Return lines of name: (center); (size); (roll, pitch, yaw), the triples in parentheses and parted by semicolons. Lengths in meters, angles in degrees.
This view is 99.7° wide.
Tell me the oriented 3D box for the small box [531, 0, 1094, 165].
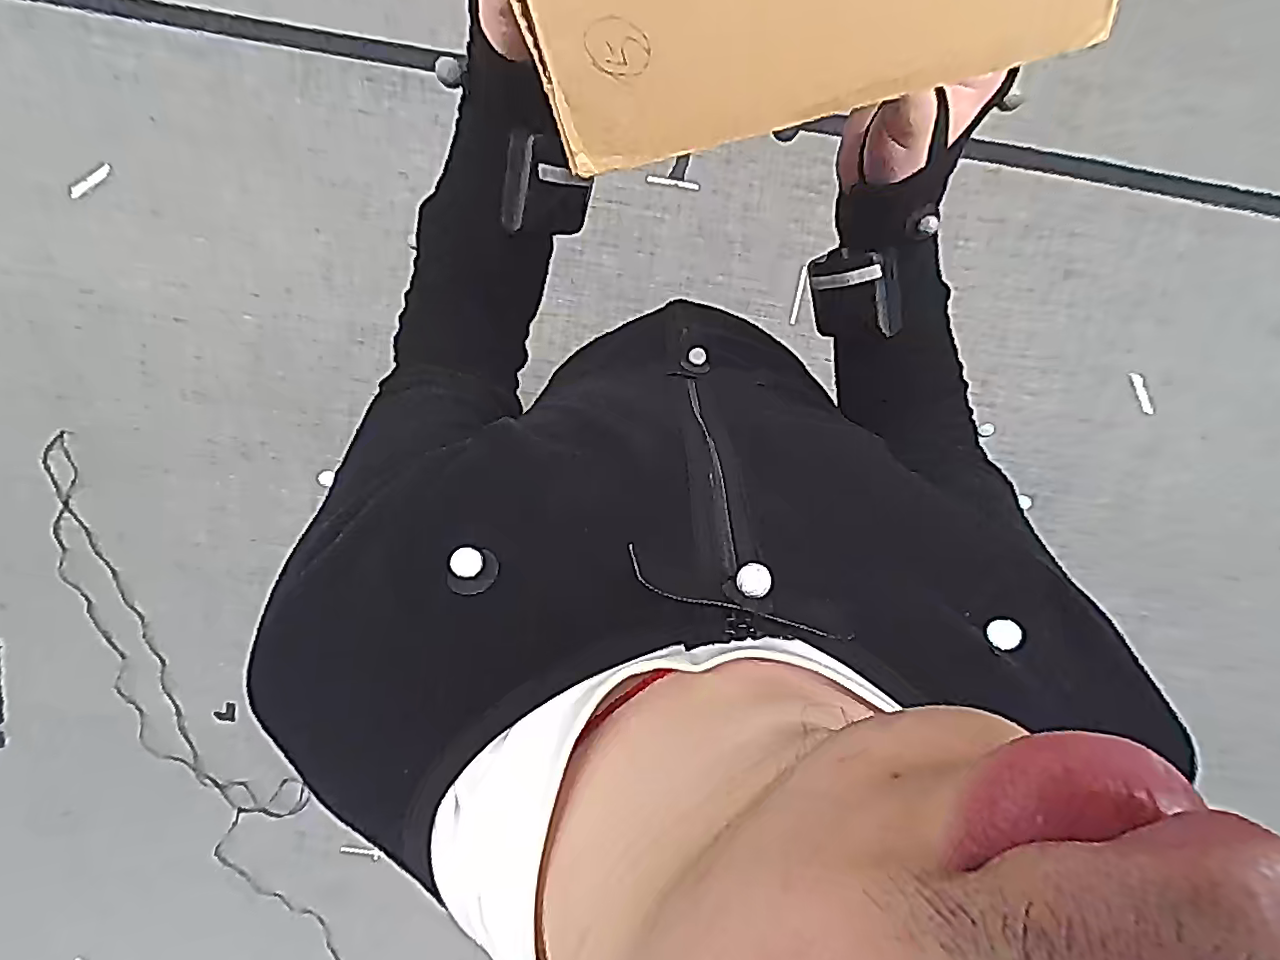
small box: (0.047, -0.245, 0.197); (0.179, 0.176, 0.168); (-8, 134, 13)
